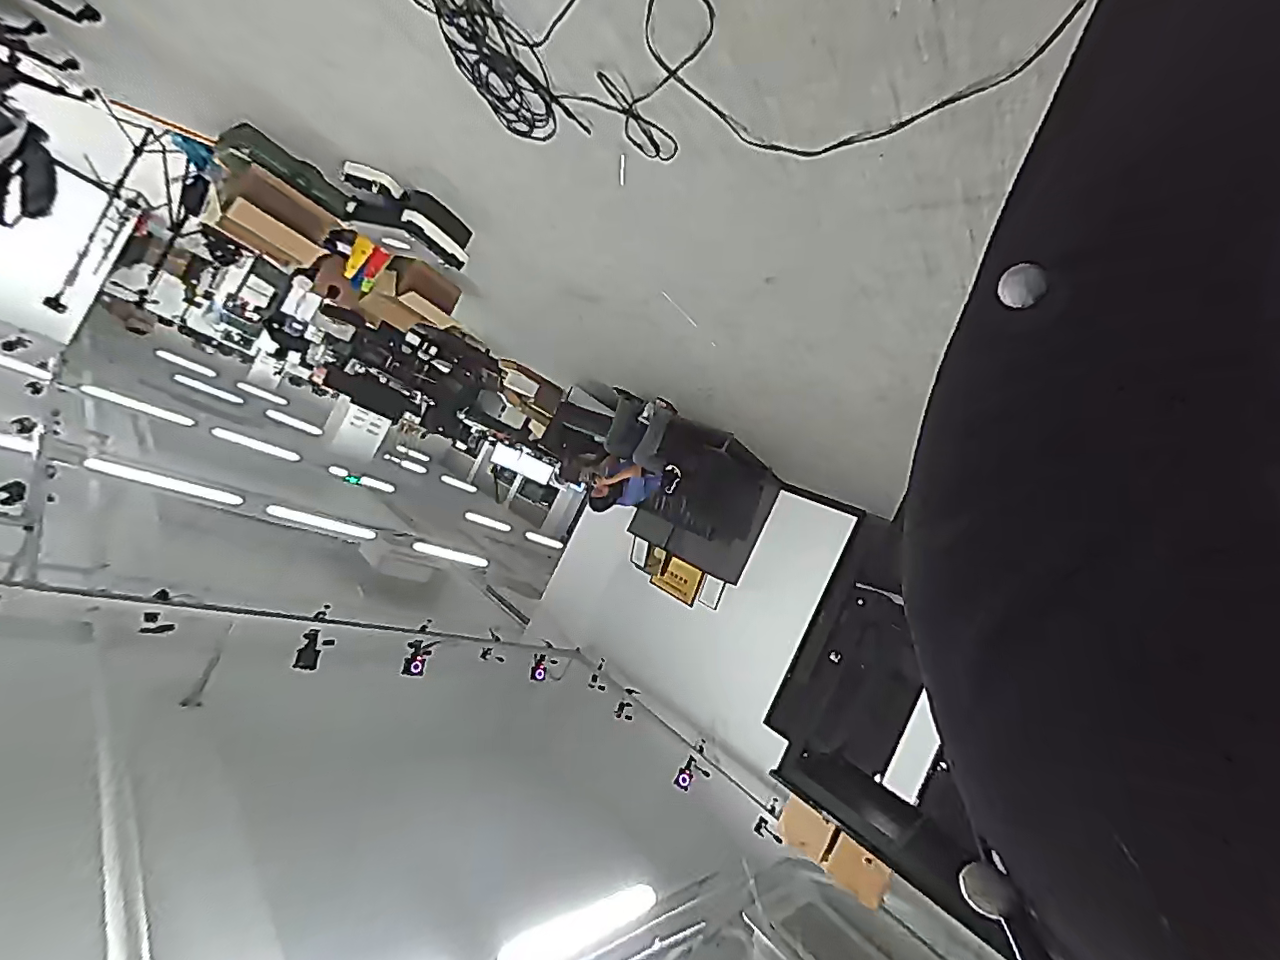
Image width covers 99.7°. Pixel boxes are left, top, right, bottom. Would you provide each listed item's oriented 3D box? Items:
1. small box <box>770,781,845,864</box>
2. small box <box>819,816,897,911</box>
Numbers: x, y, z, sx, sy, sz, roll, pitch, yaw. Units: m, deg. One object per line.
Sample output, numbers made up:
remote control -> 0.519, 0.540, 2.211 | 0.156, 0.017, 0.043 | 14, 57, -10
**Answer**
small box -> 0.581, 1.170, 1.862 | 0.168, 0.176, 0.179 | 24, 177, 39
small box -> 0.709, 1.224, 1.745 | 0.168, 0.176, 0.179 | 25, 176, 38
